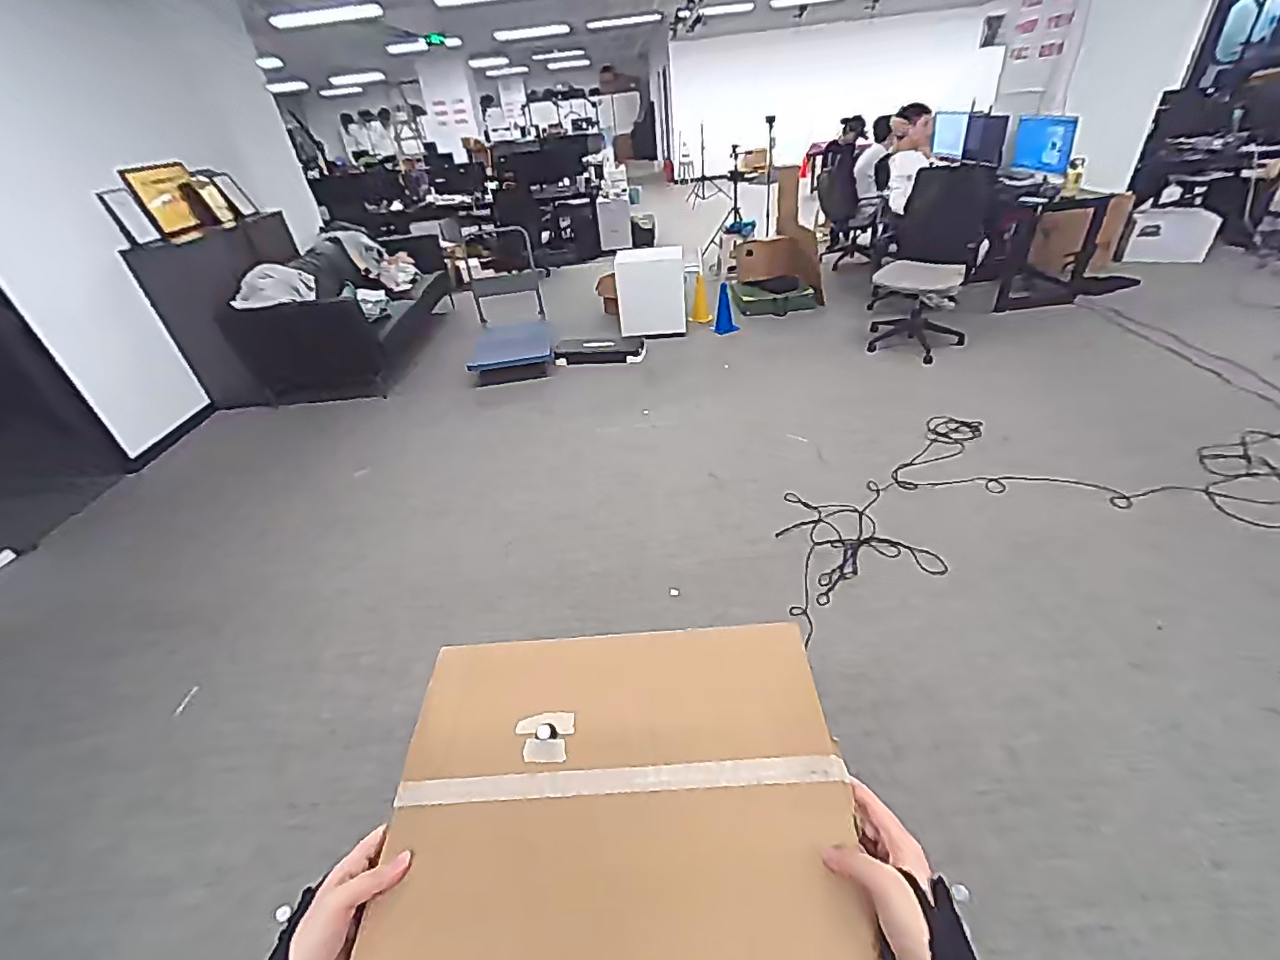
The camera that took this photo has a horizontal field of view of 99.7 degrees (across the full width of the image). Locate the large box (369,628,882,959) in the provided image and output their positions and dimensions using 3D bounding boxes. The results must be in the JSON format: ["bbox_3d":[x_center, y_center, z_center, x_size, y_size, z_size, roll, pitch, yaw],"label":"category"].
[{"bbox_3d":[-0.002,0.398,0.597,0.408,0.320,0.320,-7,40,5],"label":"large box"}]
